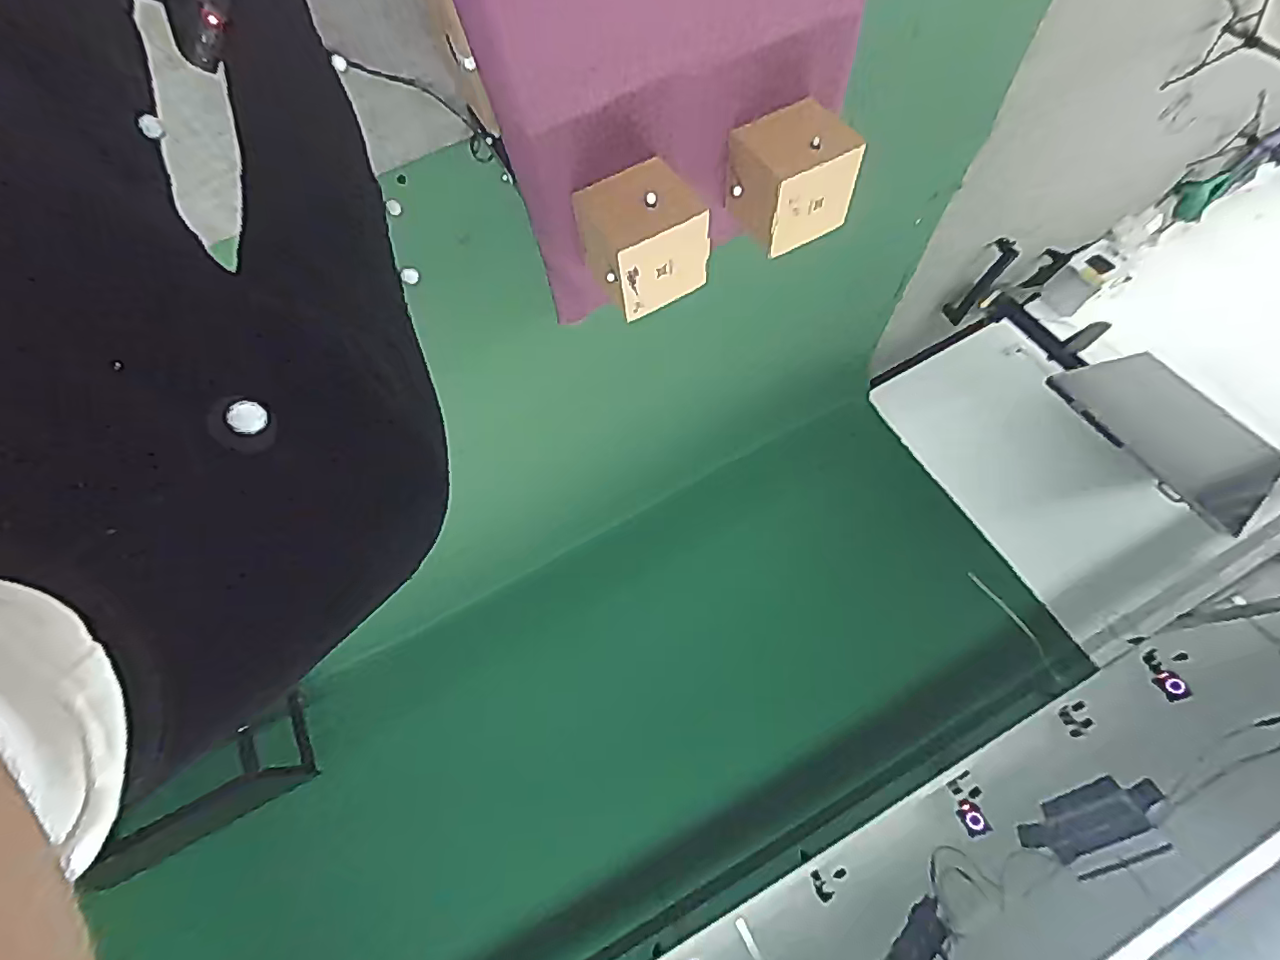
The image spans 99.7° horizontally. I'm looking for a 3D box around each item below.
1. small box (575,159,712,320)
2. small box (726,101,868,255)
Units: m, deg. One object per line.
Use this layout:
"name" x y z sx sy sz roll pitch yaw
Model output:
"small box" 0.007 -0.431 0.966 0.179 0.176 0.168 -30 155 -9
"small box" 0.285 -0.570 1.018 0.179 0.176 0.168 -26 154 -7
